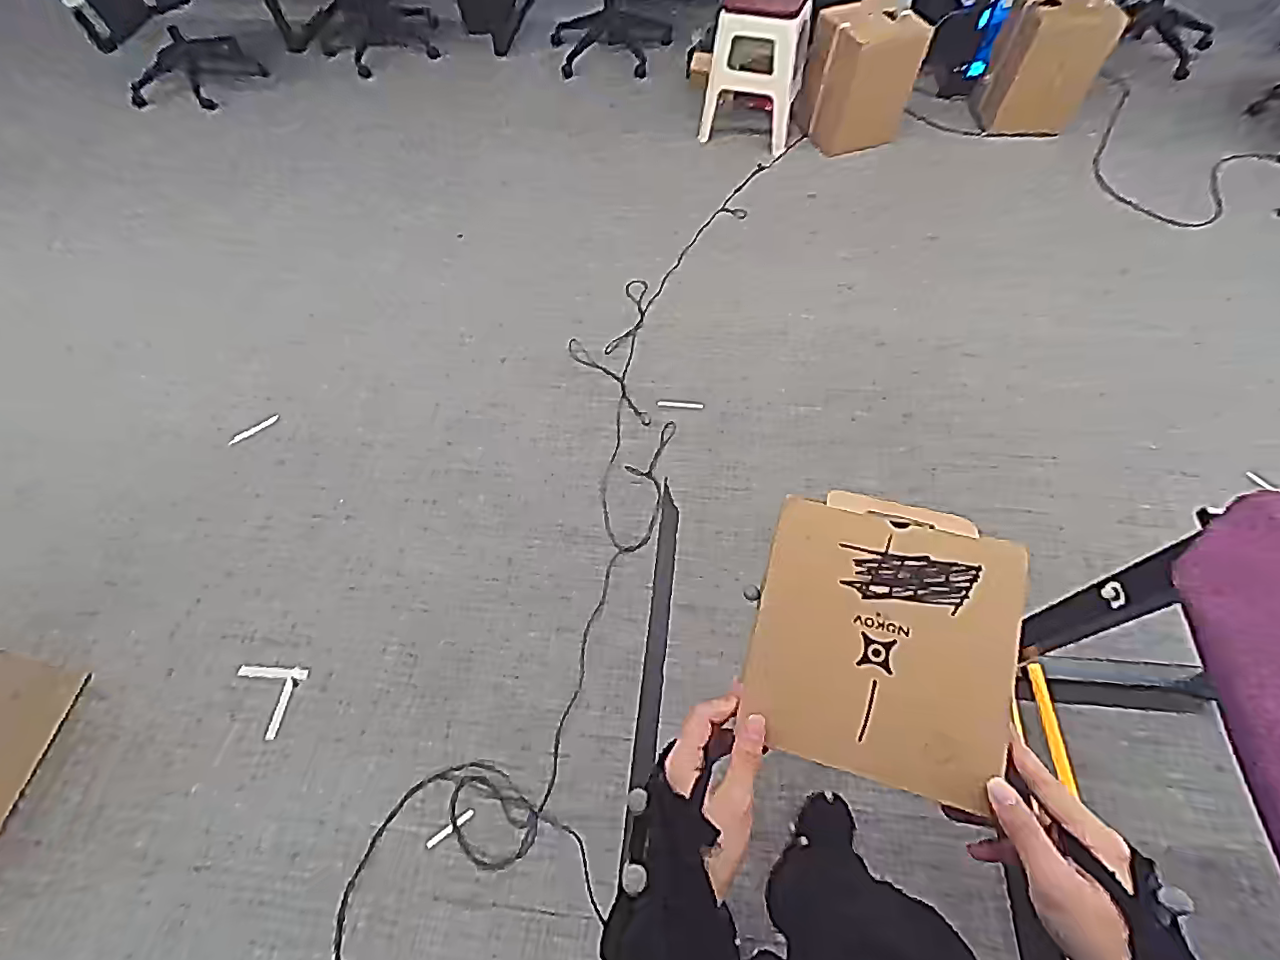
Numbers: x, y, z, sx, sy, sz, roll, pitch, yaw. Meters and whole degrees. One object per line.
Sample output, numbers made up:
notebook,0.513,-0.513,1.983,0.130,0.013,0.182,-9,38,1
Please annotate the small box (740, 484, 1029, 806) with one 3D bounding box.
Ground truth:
small box,0.179,0.123,0.440,0.168,0.176,0.179,12,76,14
